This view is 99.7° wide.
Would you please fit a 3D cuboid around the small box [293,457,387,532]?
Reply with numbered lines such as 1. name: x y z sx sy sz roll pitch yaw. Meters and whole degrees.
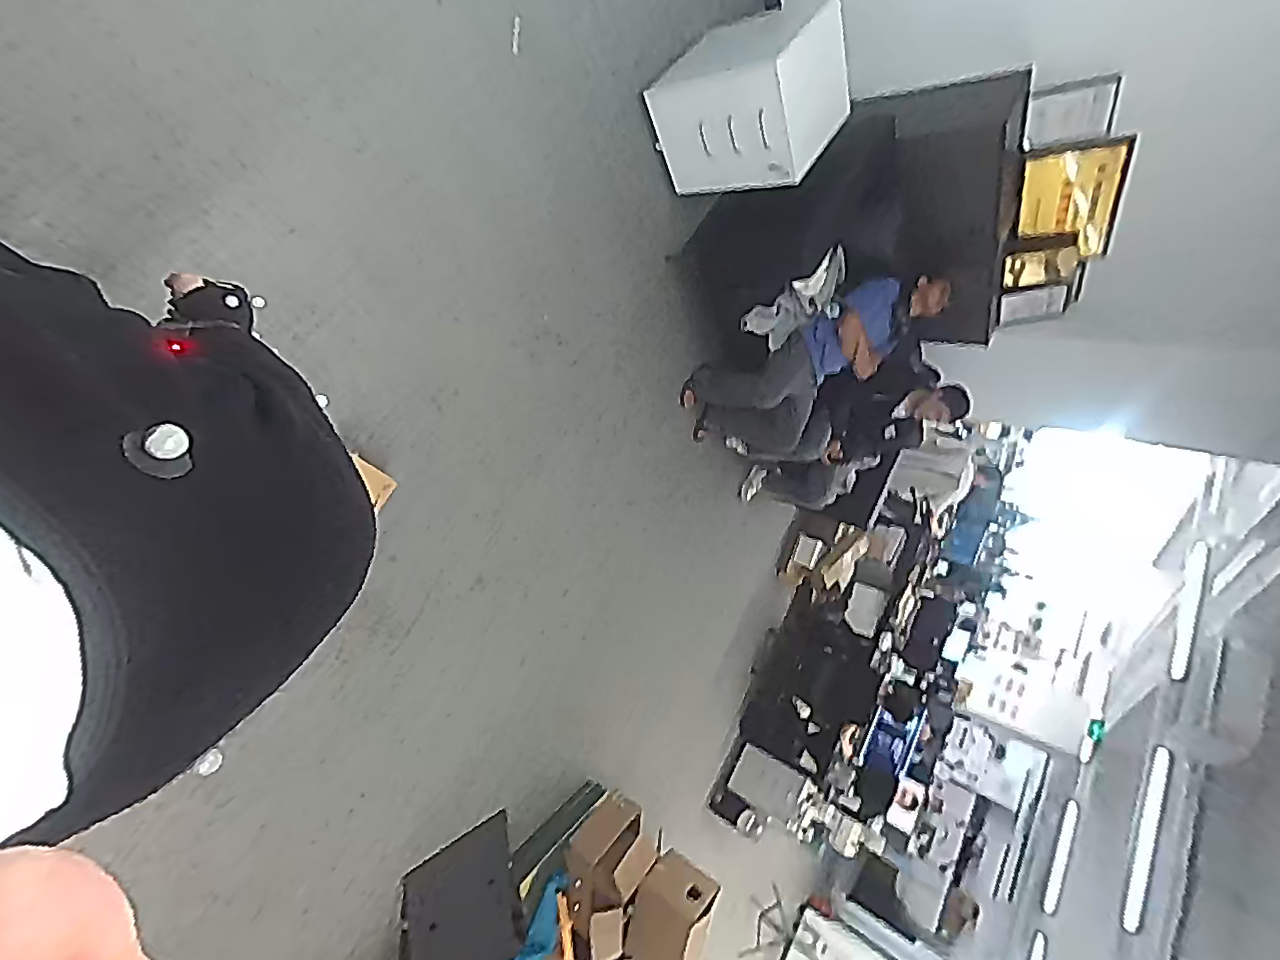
1. small box: -0.827 0.036 1.488 0.168 0.176 0.179 0 101 -55
